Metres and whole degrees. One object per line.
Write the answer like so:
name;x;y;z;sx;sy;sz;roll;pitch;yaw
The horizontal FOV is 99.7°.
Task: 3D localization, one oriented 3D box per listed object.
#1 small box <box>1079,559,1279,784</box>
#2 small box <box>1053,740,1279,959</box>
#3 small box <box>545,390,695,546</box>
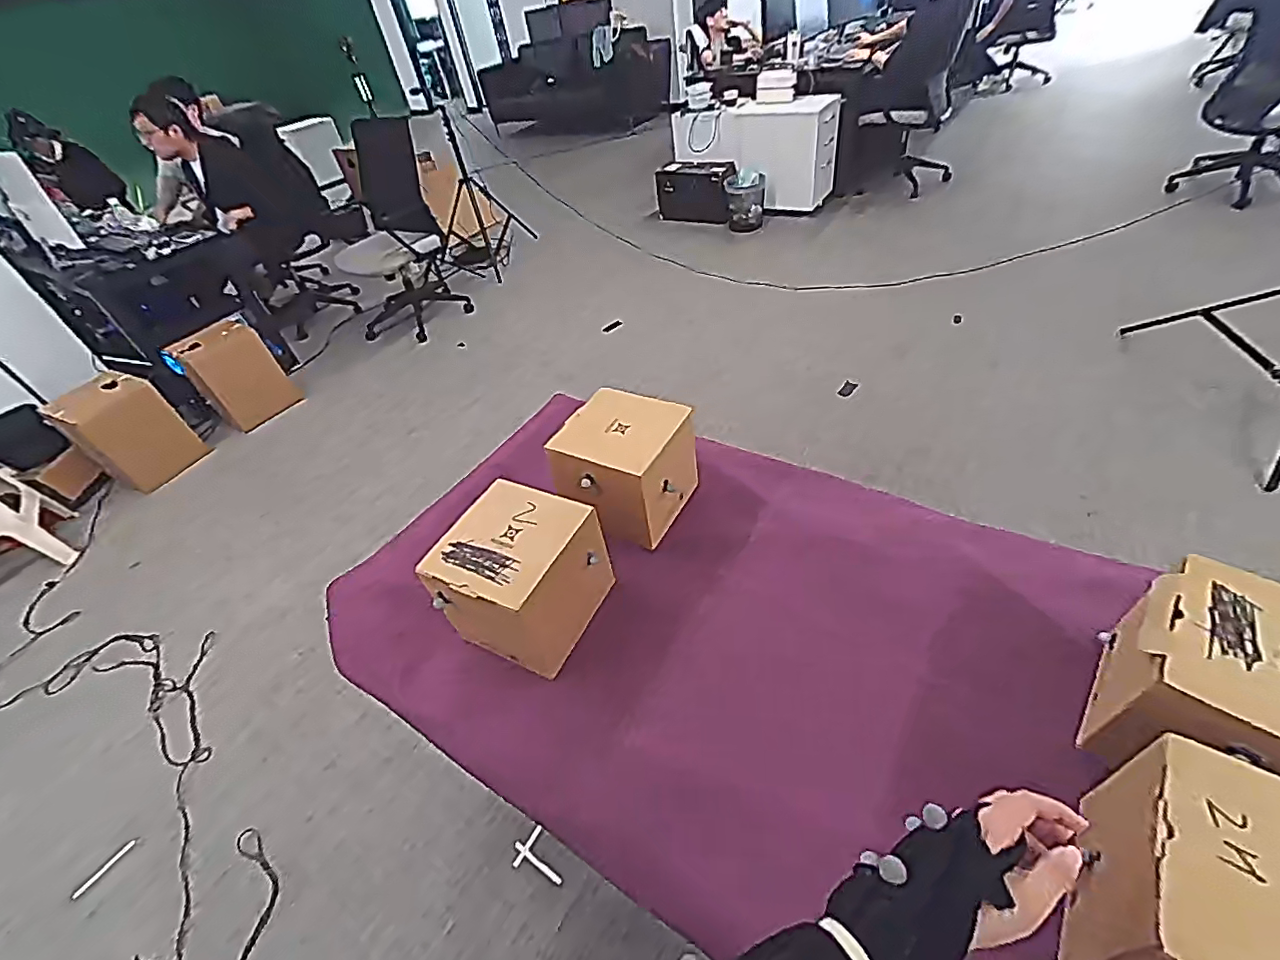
small box;0.567;0.215;0.516;0.179;0.176;0.168;27;57;31
small box;0.456;0.343;0.407;0.179;0.176;0.168;22;51;30
small box;-0.020;-0.018;0.878;0.179;0.176;0.168;17;50;26
